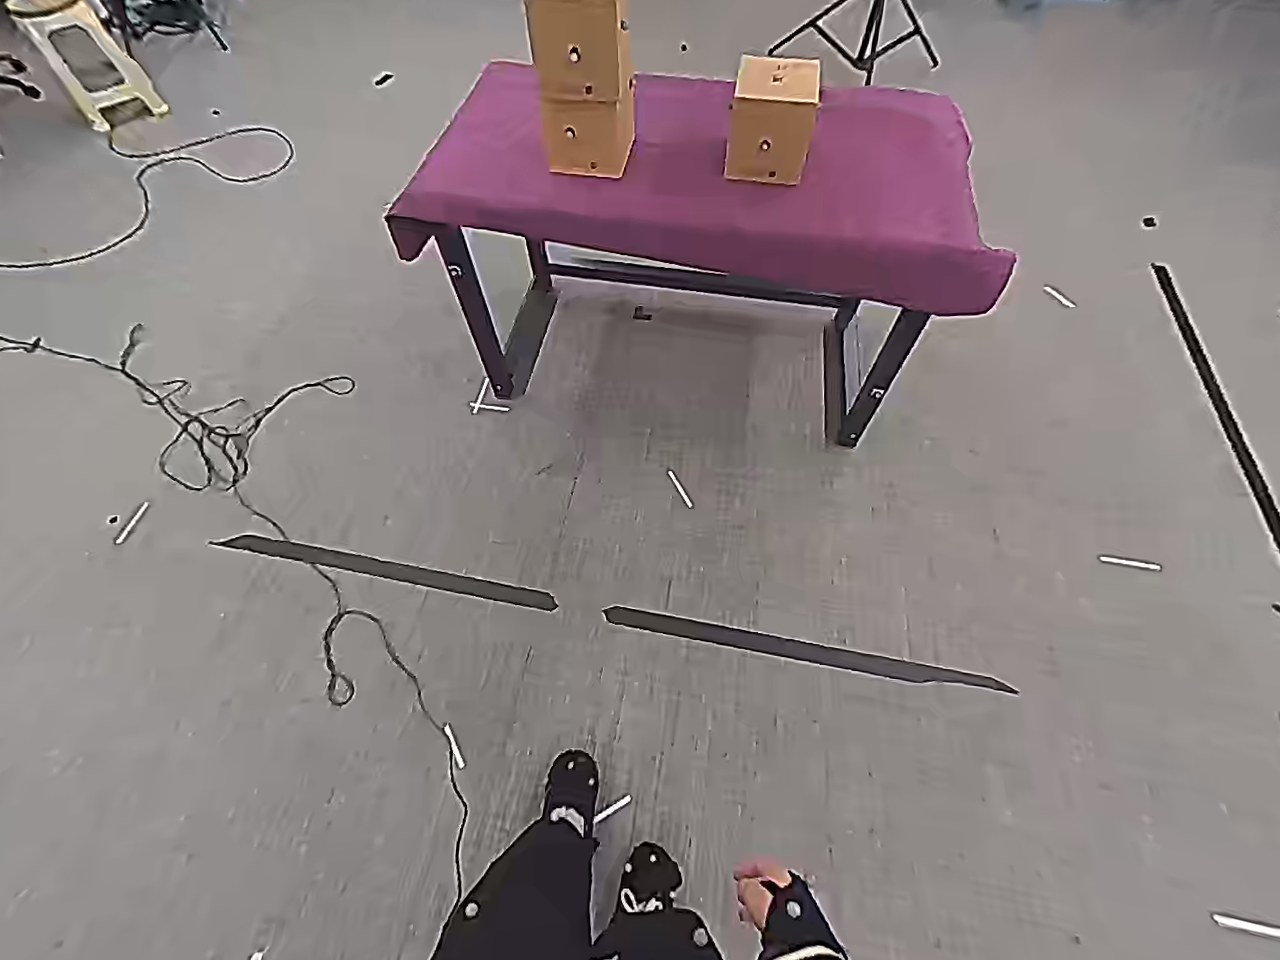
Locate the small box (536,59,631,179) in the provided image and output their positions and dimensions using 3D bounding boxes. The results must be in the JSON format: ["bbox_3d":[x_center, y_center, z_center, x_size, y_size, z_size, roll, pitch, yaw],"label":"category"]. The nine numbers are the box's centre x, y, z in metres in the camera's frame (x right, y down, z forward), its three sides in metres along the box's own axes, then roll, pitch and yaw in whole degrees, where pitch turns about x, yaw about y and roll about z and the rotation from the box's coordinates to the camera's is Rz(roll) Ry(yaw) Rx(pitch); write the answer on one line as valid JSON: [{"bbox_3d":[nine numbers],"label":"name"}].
[{"bbox_3d":[-0.114,-0.790,1.185,0.168,0.176,0.179,8,60,5],"label":"small box"}]

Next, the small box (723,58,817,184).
[{"bbox_3d":[0.275,-0.768,1.163,0.168,0.176,0.179,9,60,5],"label":"small box"}]

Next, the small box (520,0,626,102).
[{"bbox_3d":[-0.116,-0.853,1.032,0.168,0.176,0.179,4,60,3],"label":"small box"}]
